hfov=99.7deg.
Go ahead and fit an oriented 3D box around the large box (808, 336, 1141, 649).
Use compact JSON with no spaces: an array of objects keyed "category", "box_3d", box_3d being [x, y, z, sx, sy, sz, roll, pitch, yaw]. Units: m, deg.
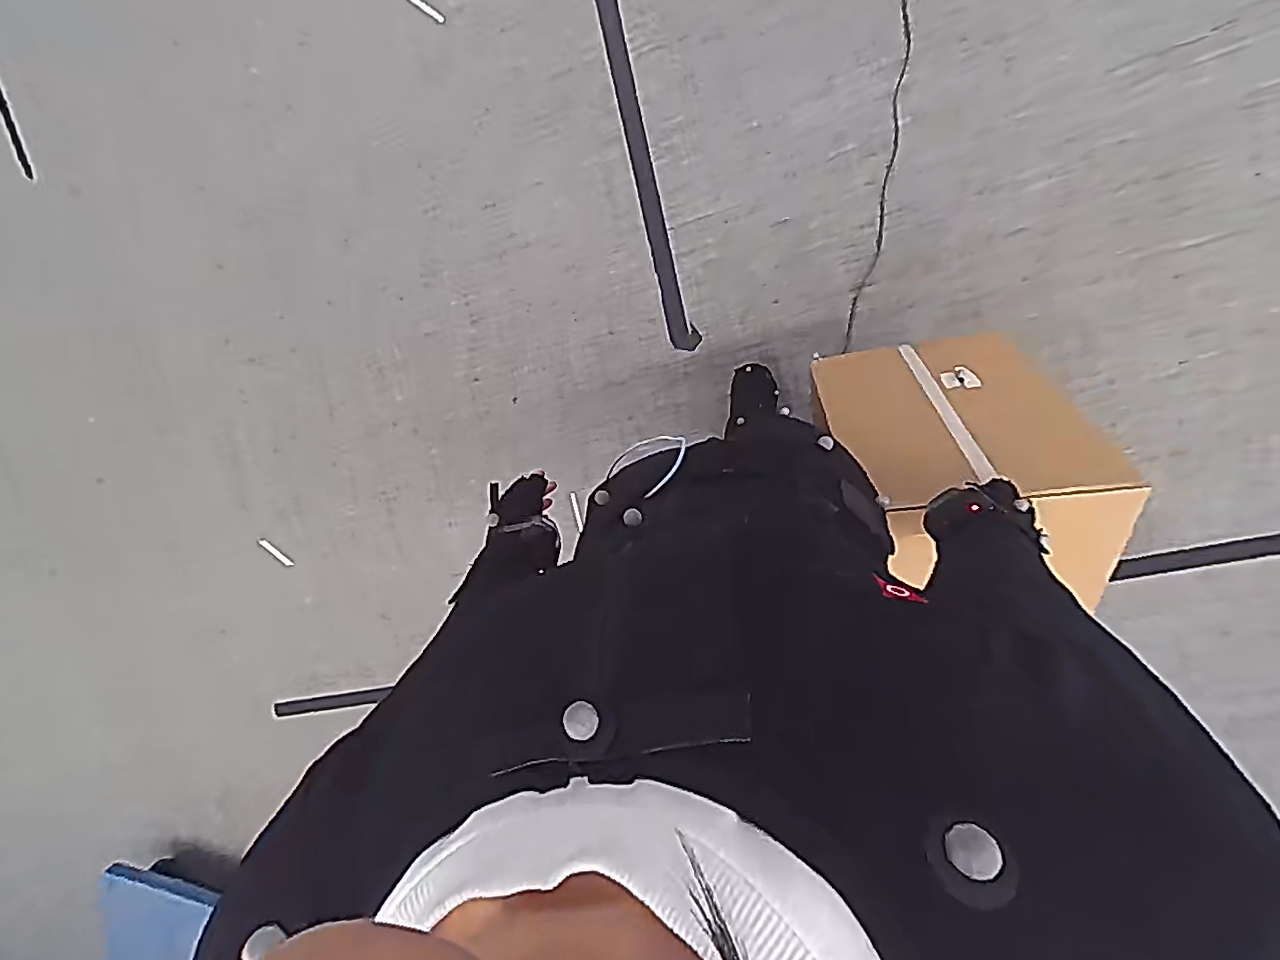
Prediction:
[{"category":"large box","box_3d":[0.473,0.012,0.885,0.320,0.408,0.320,-6,128,11]}]
